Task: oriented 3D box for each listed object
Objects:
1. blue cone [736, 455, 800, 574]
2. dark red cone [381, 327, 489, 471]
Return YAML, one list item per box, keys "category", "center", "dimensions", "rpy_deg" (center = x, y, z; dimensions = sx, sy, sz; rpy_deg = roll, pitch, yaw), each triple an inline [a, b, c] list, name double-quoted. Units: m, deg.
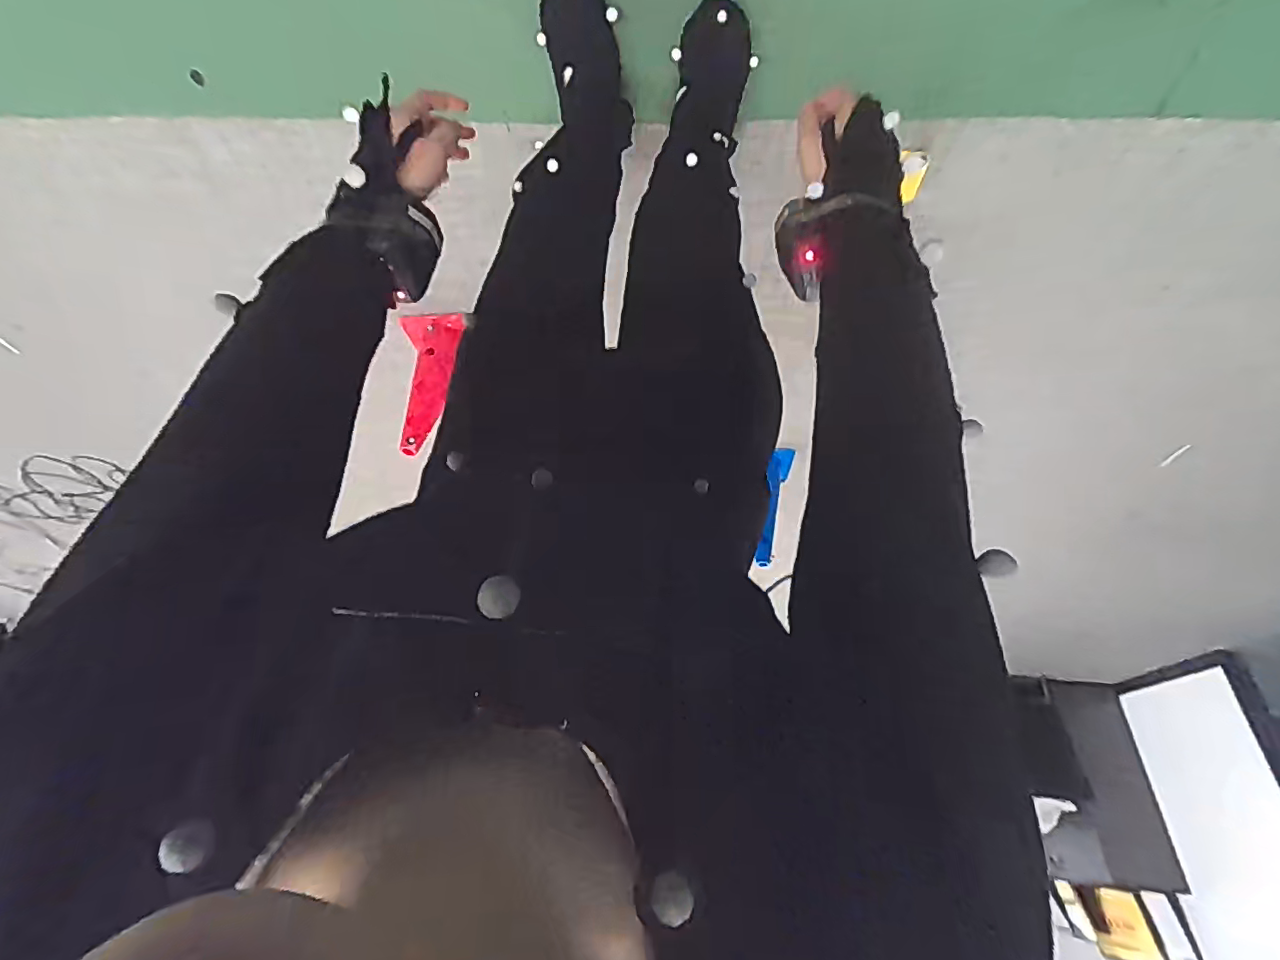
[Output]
- category: "blue cone"
  center: [0.398, 0.111, 1.672]
  dimensions: [0.192, 0.380, 0.193]
  rpy_deg: [3, 147, 4]
- category: "dark red cone"
  center: [-0.532, -0.185, 1.316]
  dimensions: [0.202, 0.394, 0.201]
  rpy_deg: [0, 144, 11]
